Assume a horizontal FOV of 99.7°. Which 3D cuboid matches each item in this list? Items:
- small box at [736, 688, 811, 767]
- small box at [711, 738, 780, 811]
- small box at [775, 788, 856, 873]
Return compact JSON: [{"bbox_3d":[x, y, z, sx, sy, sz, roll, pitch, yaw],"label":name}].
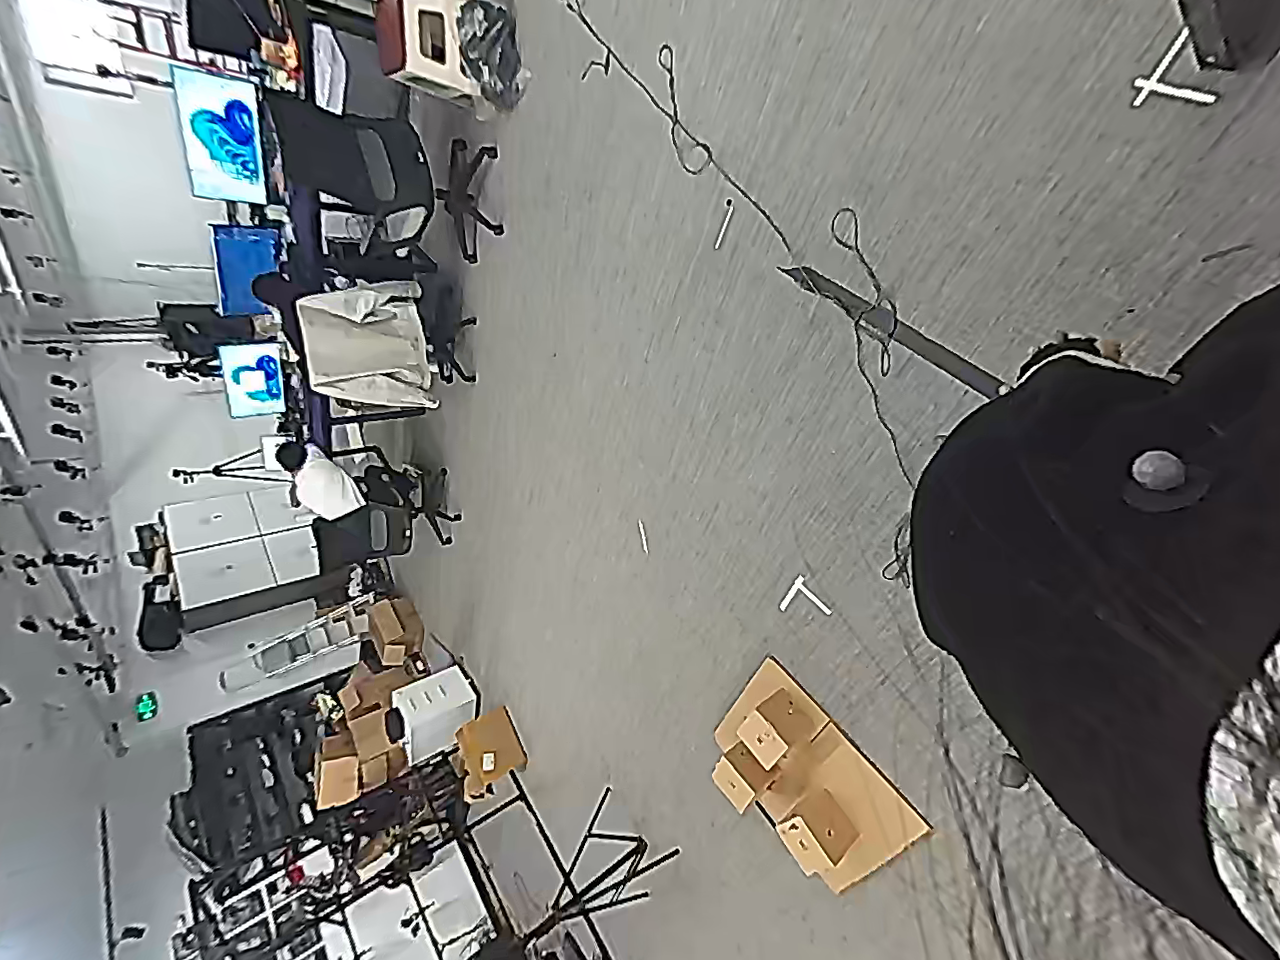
[{"bbox_3d":[0.488,0.895,1.964,0.168,0.176,0.179,46,131,31],"label":"small box"},{"bbox_3d":[0.416,1.145,2.130,0.179,0.176,0.168,42,131,35],"label":"small box"},{"bbox_3d":[0.620,1.232,1.905,0.179,0.176,0.168,52,135,24],"label":"small box"}]
